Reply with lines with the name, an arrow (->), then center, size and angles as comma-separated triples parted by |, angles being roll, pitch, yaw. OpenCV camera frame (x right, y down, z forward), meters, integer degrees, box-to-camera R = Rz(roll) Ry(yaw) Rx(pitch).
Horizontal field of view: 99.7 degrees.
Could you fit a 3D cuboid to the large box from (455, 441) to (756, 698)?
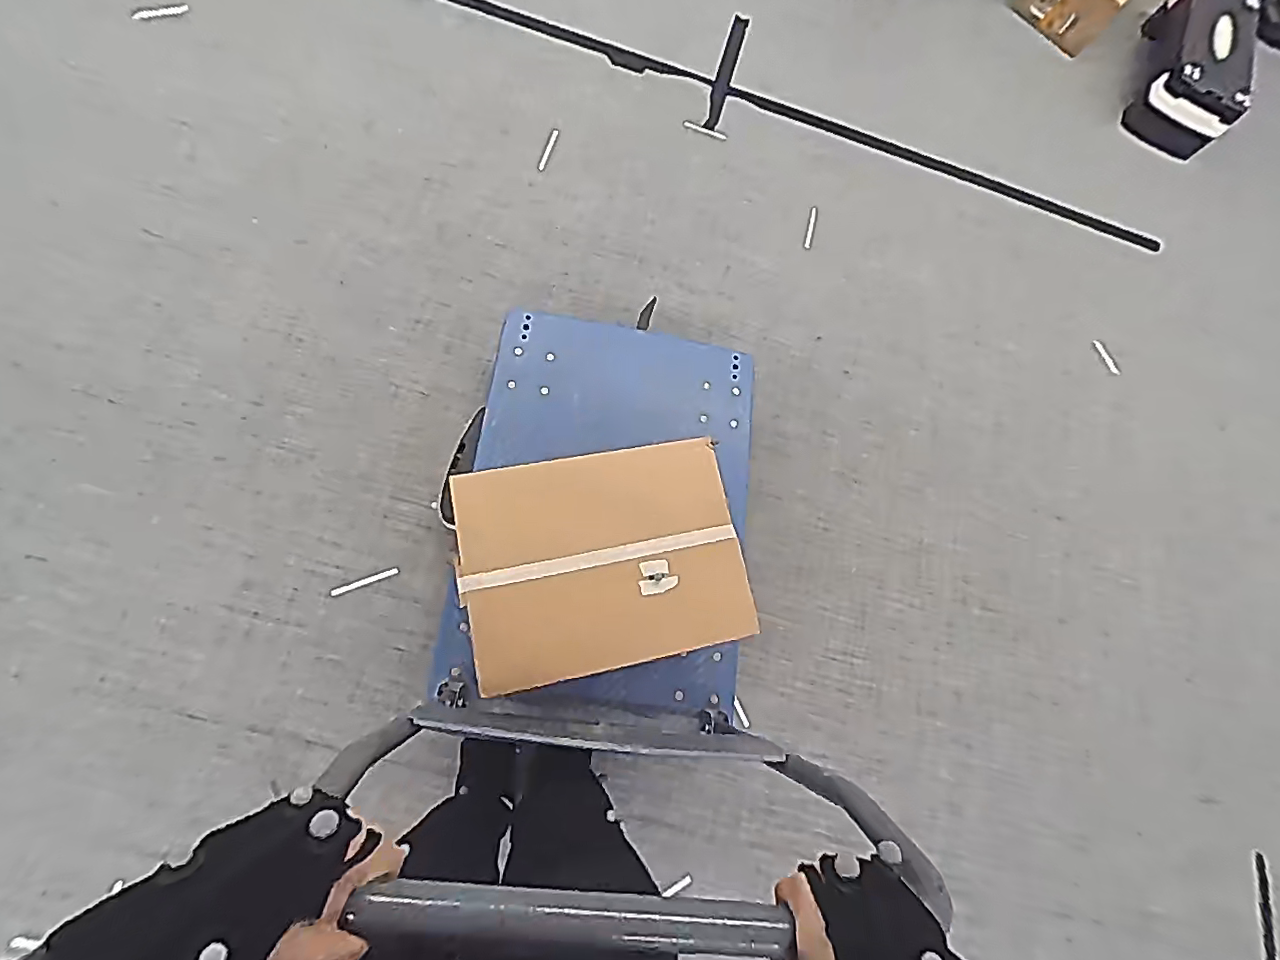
large box -> -0.074, 0.153, 0.935 | 0.408, 0.320, 0.320 | -9, 77, -13
